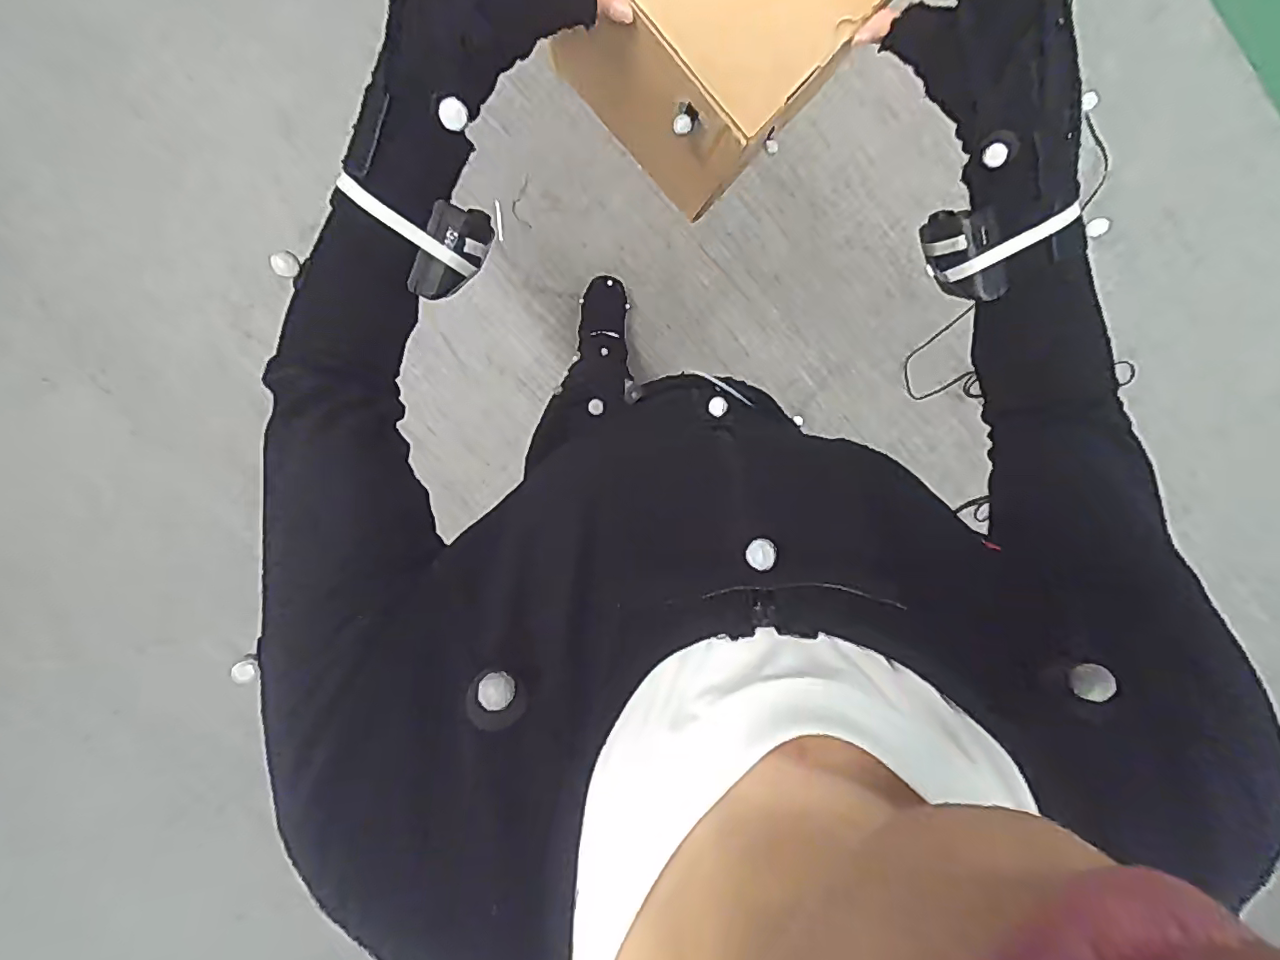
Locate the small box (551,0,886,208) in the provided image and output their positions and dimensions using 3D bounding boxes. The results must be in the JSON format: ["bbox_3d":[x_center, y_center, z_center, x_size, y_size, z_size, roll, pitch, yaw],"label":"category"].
[{"bbox_3d":[0.047,-0.336,0.387,0.179,0.176,0.168,44,93,-12],"label":"small box"}]
